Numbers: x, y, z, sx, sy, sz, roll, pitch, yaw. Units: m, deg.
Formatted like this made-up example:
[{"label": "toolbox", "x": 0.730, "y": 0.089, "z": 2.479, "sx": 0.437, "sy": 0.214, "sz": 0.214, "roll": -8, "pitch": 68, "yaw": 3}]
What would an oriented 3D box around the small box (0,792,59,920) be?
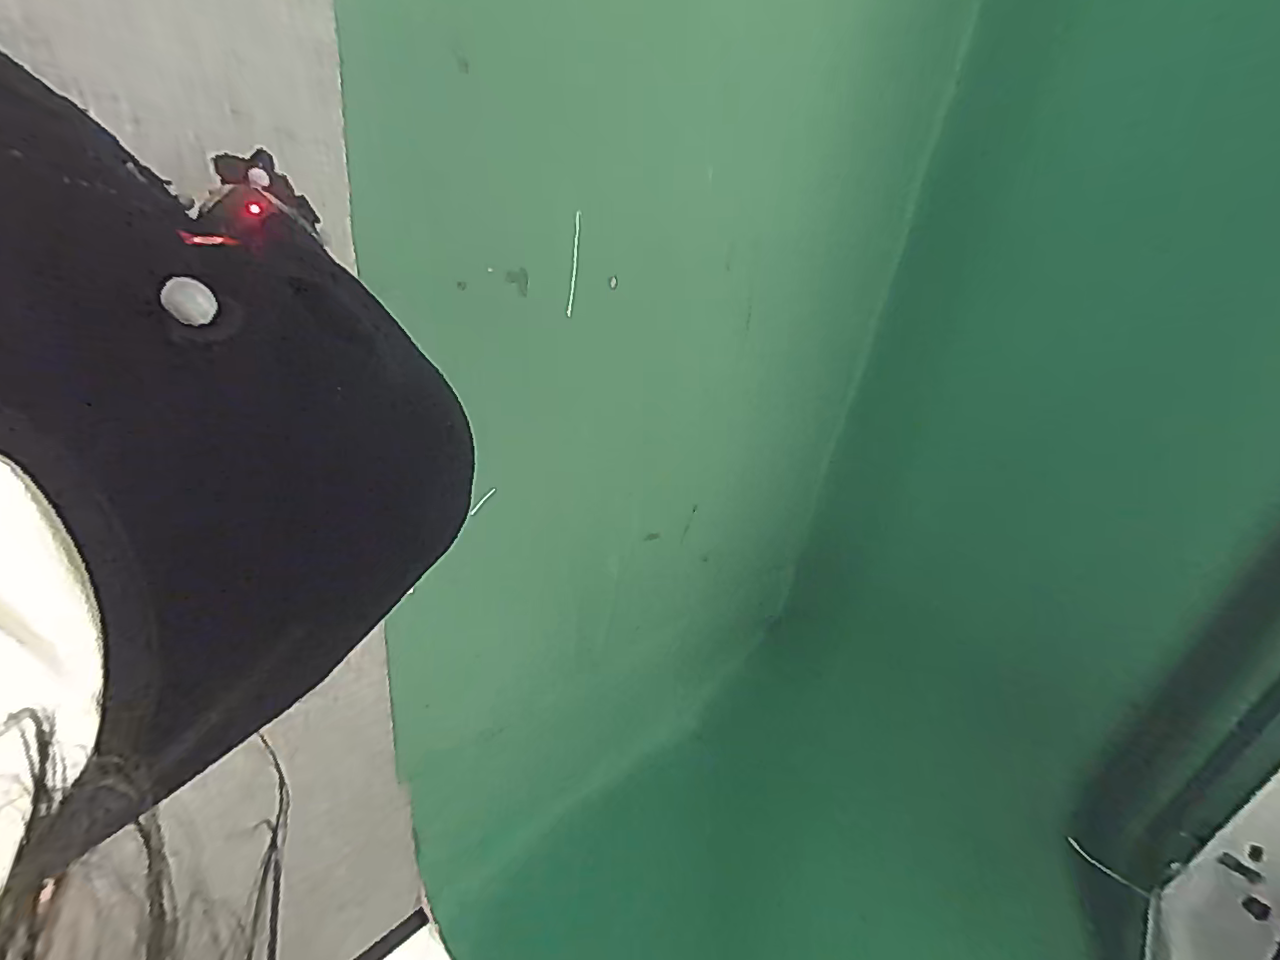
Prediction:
[{"label": "small box", "x": -1.419, "y": 0.840, "z": 1.183, "sx": 0.179, "sy": 0.176, "sz": 0.168, "roll": -15, "pitch": 125, "yaw": -44}]
